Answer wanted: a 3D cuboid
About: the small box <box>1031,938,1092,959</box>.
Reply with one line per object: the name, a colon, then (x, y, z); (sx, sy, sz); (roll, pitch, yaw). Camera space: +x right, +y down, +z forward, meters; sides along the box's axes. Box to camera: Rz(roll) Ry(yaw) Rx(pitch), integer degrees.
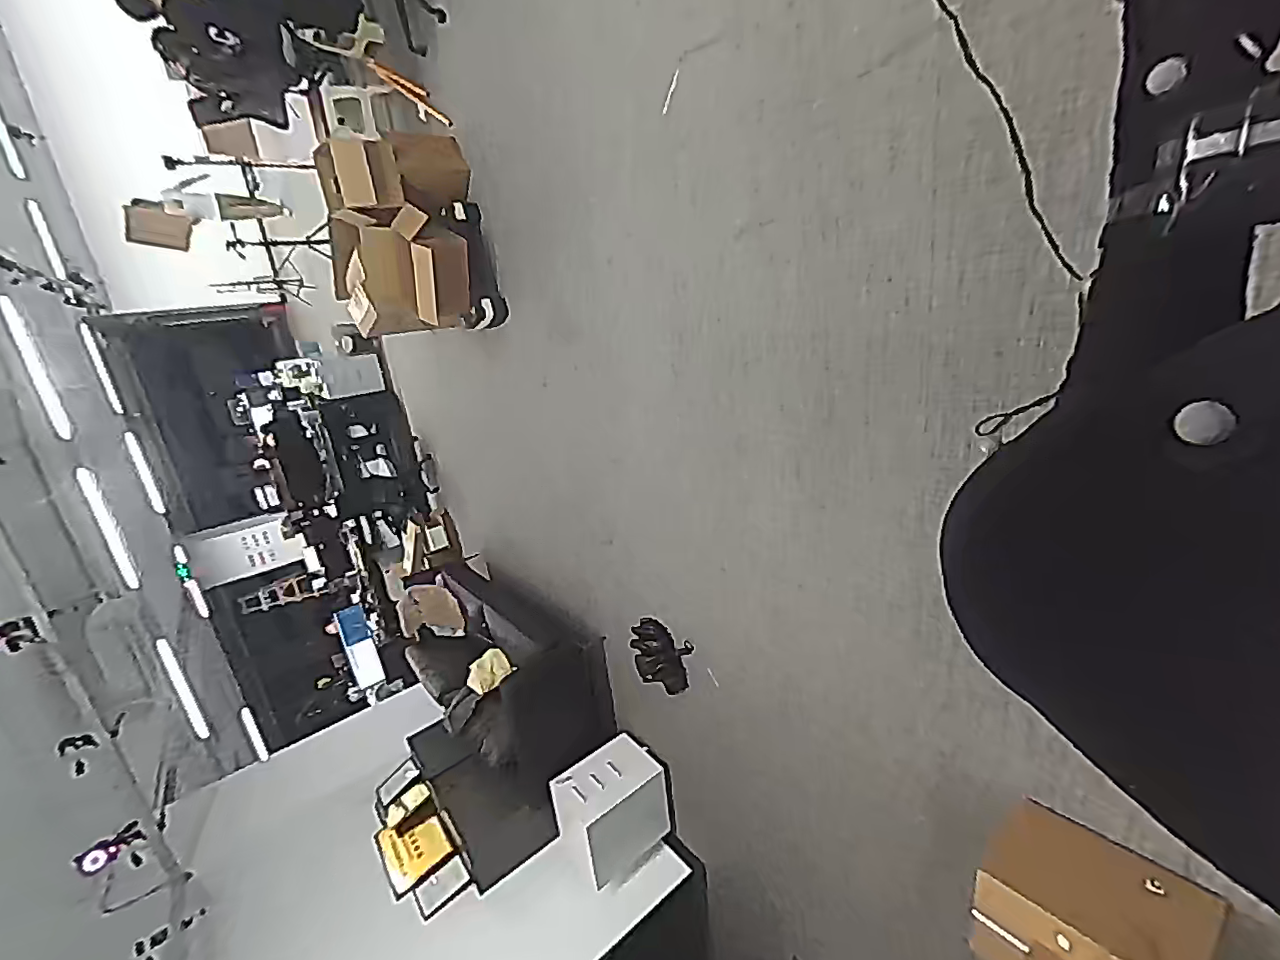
small box: (0.980, 1.194, 1.217); (0.179, 0.176, 0.168); (14, 113, 52)
